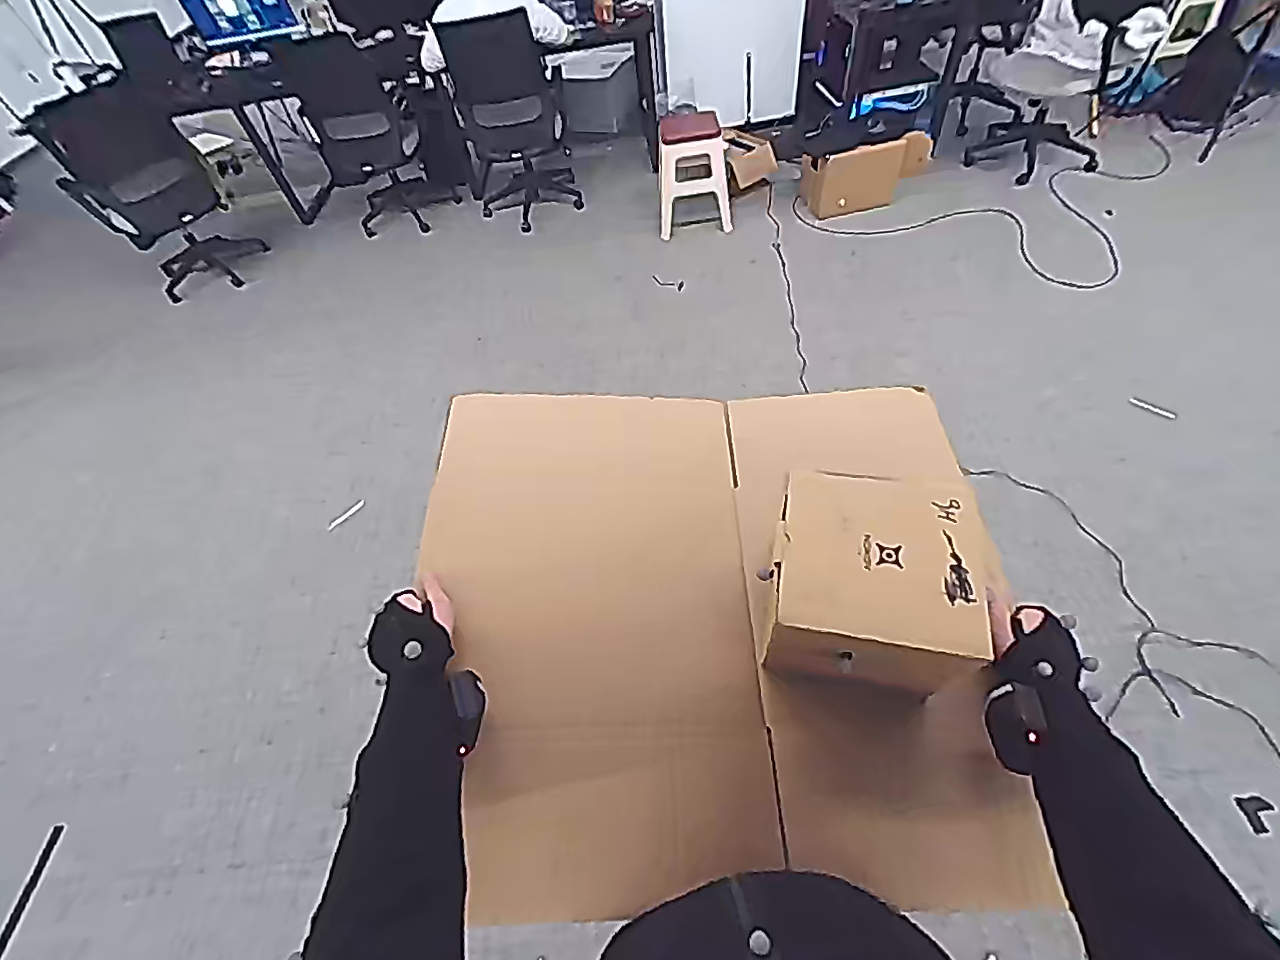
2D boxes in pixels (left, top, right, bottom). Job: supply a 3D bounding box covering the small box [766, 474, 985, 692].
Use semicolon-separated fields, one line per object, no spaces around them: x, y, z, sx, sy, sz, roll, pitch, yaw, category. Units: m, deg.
0.231;0.112;0.572;0.179;0.176;0.168;6;60;13;small box
